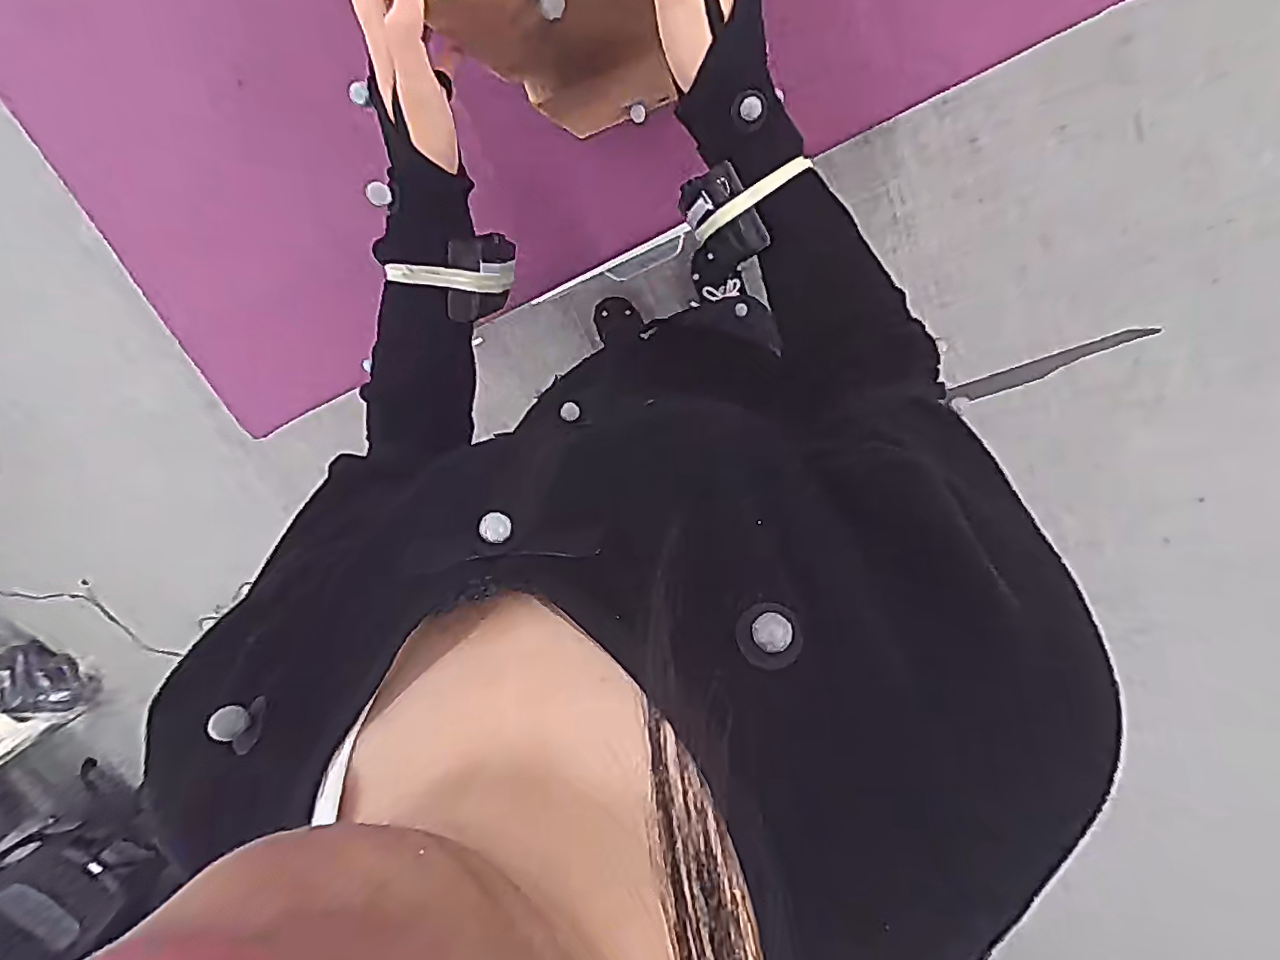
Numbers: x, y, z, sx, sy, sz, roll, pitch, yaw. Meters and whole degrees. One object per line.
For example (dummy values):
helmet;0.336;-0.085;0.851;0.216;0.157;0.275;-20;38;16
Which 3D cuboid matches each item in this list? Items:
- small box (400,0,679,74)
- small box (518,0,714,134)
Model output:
small box;-0.065;-0.397;0.341;0.179;0.176;0.168;-10;112;15
small box;-0.032;-0.450;0.492;0.168;0.176;0.179;-12;112;15
